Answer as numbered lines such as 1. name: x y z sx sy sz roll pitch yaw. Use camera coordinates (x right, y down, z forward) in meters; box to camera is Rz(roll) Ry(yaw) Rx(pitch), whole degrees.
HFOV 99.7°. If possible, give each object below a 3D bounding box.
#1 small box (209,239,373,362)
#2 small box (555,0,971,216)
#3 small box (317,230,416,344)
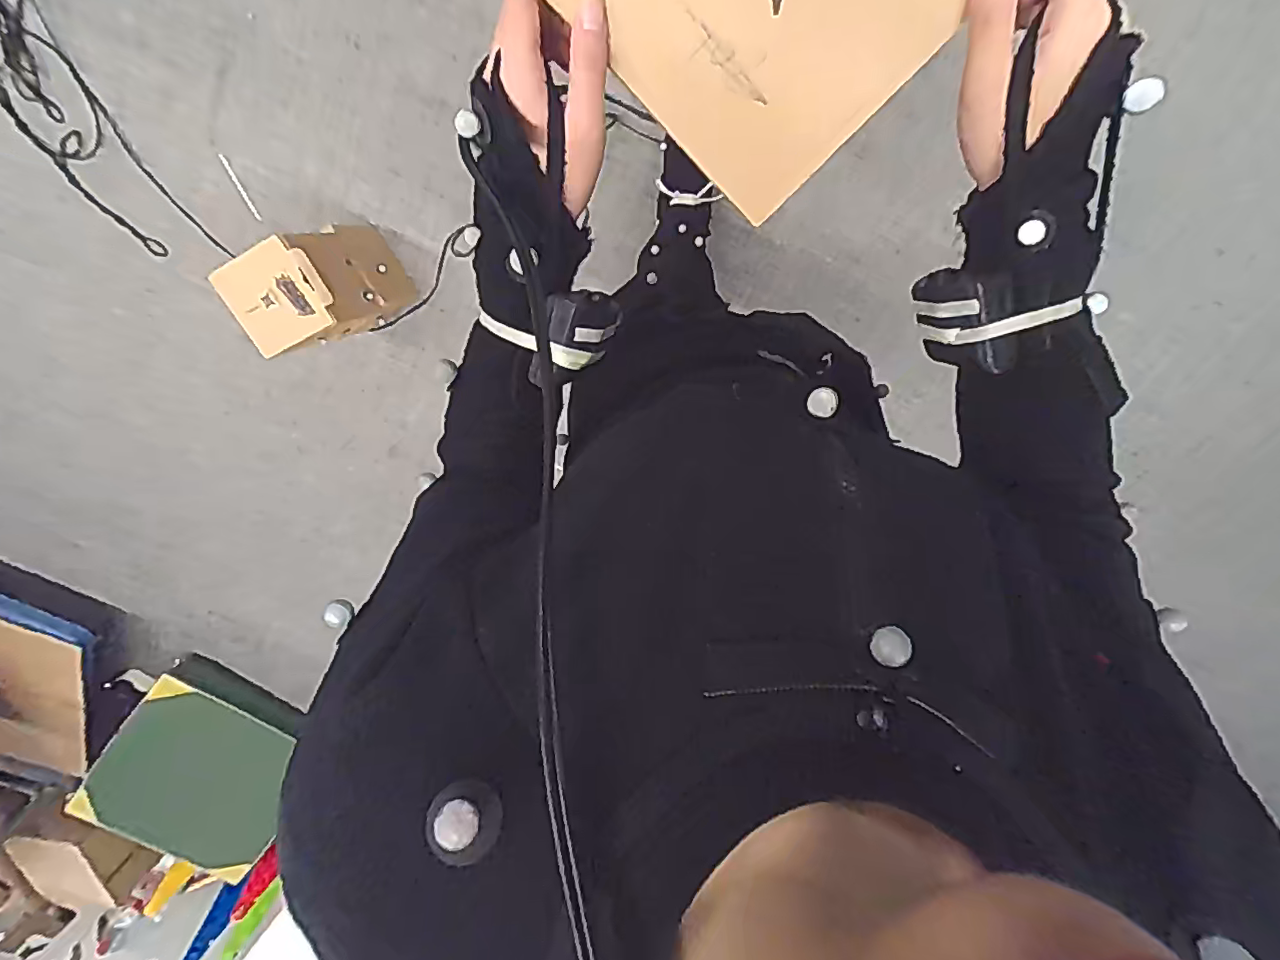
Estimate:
1. small box: -0.651 -0.351 1.041 0.179 0.176 0.168 -20 111 14
2. small box: 0.072 -0.300 0.312 0.168 0.176 0.179 35 125 -22
3. small box: -0.631 -0.428 1.186 0.168 0.176 0.179 -26 110 16
